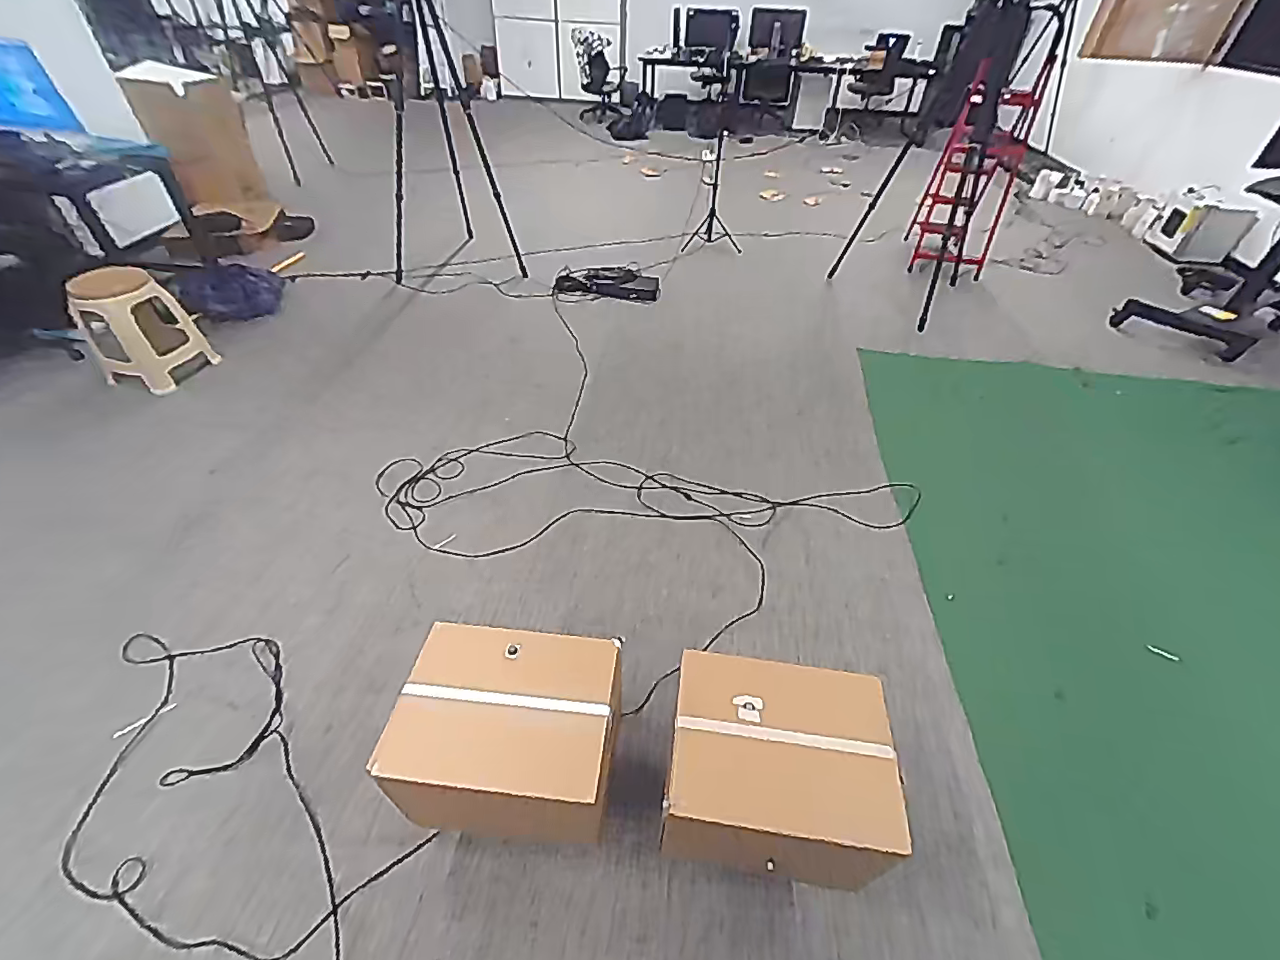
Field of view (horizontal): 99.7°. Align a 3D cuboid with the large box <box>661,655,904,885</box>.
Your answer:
[{"bbox_3d":[0.264,0.600,1.122,0.408,0.320,0.320,7,43,6],"label":"large box"}]
